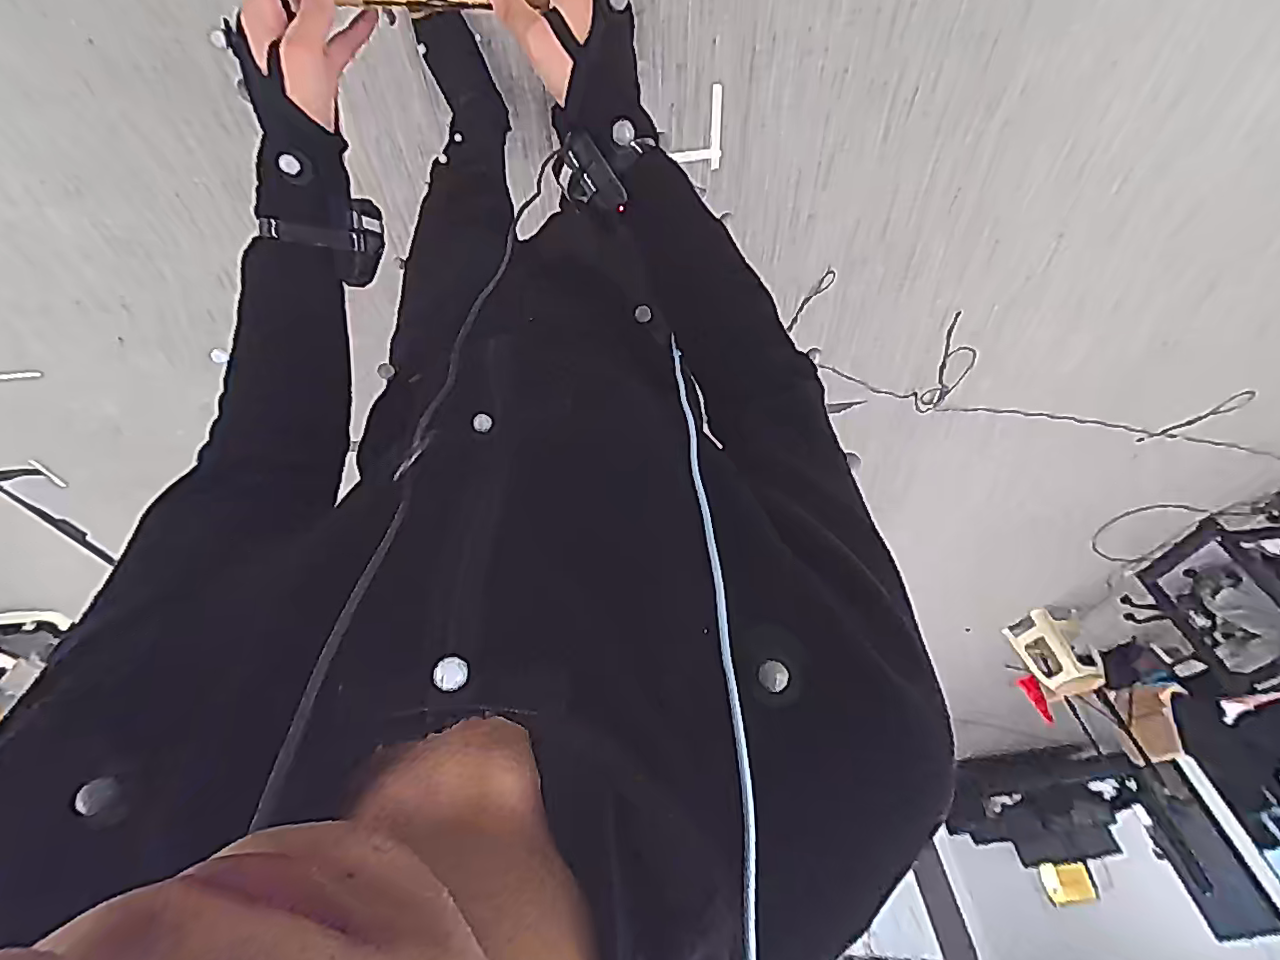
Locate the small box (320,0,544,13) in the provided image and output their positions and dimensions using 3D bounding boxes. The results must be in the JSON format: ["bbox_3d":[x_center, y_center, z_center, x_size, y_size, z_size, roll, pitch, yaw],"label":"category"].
[{"bbox_3d":[-0.164,-0.462,0.395,0.168,0.176,0.179,-8,132,-11],"label":"small box"}]

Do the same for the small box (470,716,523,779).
[{"bbox_3d":[-0.524,0.980,1.989,0.168,0.176,0.179,-4,140,-5],"label":"small box"}]
